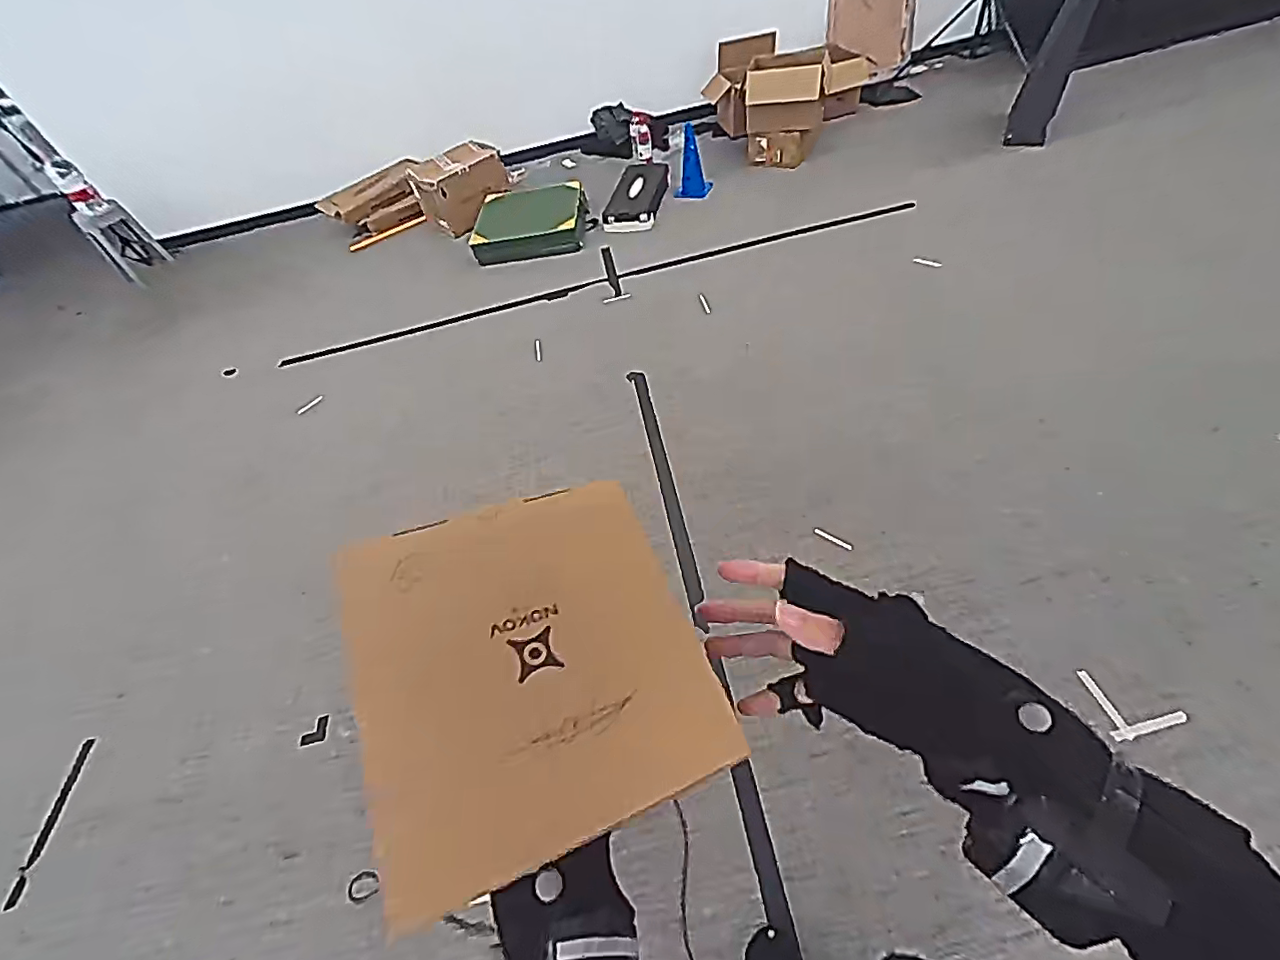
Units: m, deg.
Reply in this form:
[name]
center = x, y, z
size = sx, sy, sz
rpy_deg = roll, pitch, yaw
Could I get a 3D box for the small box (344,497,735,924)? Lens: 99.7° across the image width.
[small box]
center = -0.072, 0.142, 0.348
size = 0.168, 0.176, 0.179
rpy_deg = -15, 58, -22
